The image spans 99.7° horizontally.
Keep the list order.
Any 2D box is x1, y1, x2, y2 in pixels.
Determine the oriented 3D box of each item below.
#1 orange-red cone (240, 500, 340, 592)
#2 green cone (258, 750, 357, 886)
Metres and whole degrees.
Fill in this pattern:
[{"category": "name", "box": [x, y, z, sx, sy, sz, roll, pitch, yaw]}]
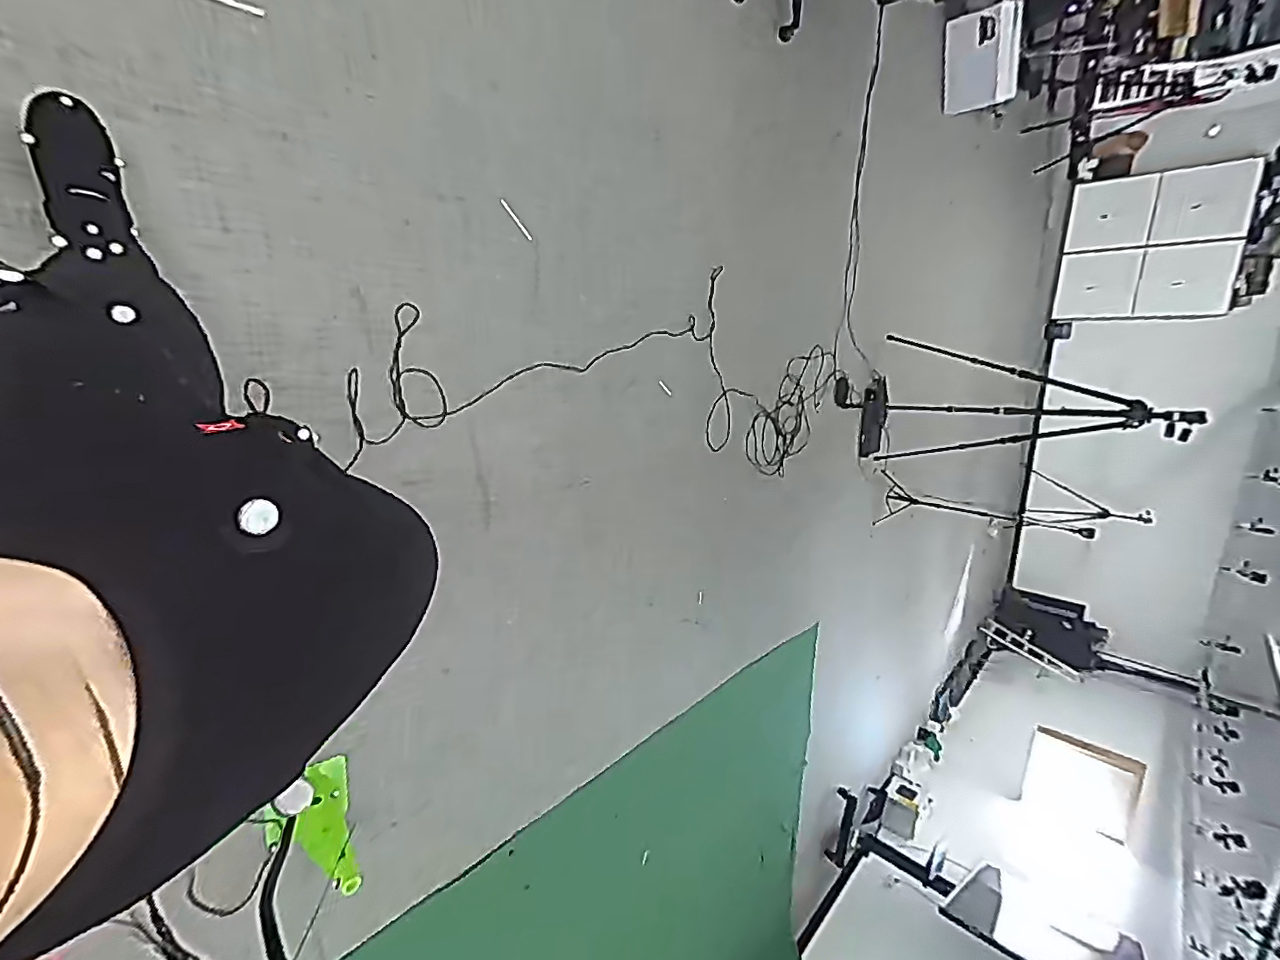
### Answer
[{"category": "orange-red cone", "box": [-0.765, 0.183, 1.243, 0.198, 0.360, 0.199, -6, 106, -45]}, {"category": "green cone", "box": [-0.806, 0.901, 1.381, 0.200, 0.368, 0.202, -10, 106, -46]}]
